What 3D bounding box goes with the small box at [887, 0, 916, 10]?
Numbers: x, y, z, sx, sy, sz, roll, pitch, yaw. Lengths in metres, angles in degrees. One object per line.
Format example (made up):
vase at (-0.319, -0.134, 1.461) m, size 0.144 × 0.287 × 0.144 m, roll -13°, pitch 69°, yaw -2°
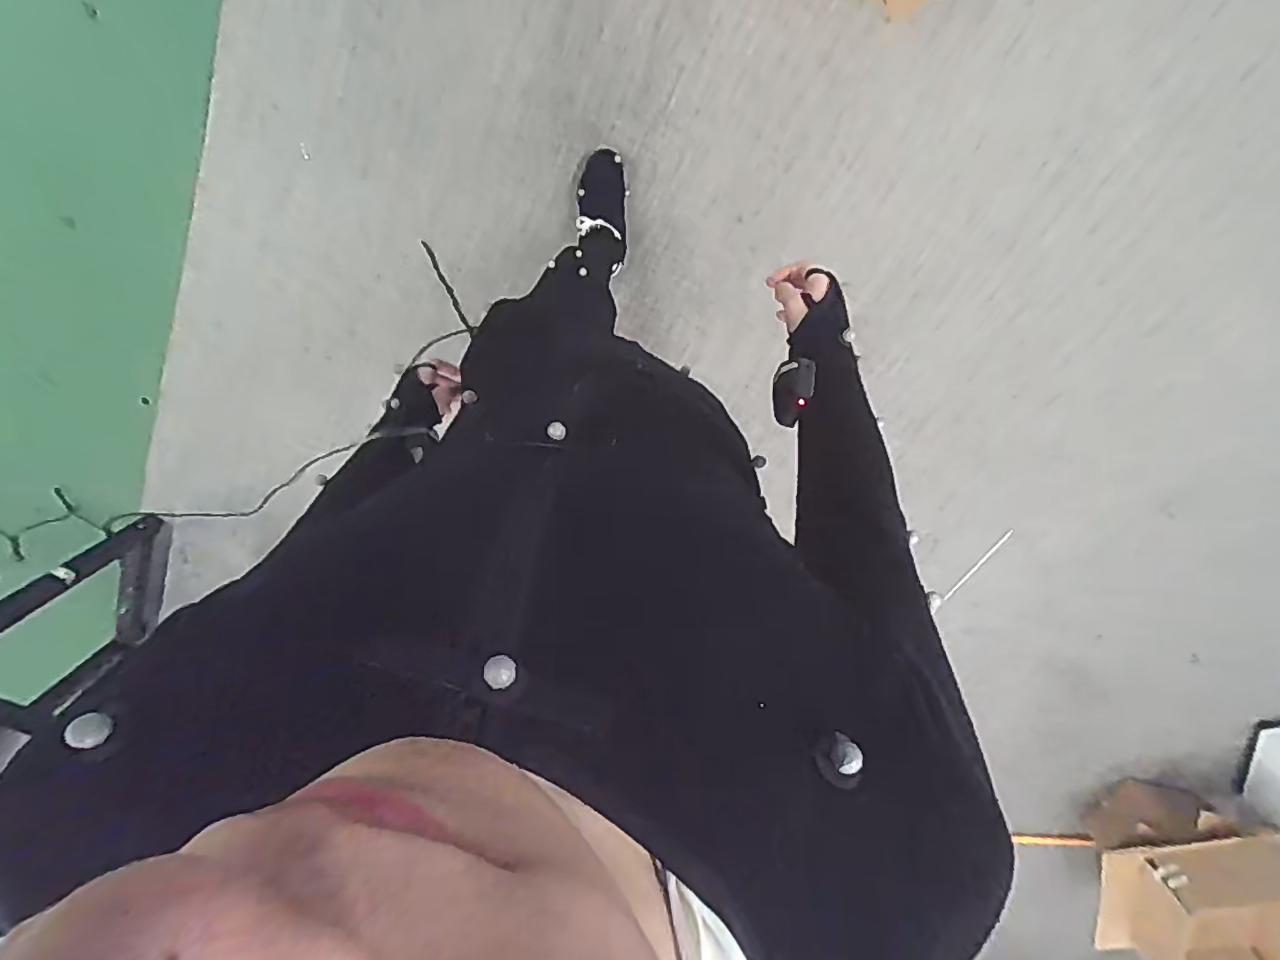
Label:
small box at (0.547, -1.093, 1.071) m, size 0.168 × 0.176 × 0.179 m, roll 26°, pitch 113°, yaw -11°
